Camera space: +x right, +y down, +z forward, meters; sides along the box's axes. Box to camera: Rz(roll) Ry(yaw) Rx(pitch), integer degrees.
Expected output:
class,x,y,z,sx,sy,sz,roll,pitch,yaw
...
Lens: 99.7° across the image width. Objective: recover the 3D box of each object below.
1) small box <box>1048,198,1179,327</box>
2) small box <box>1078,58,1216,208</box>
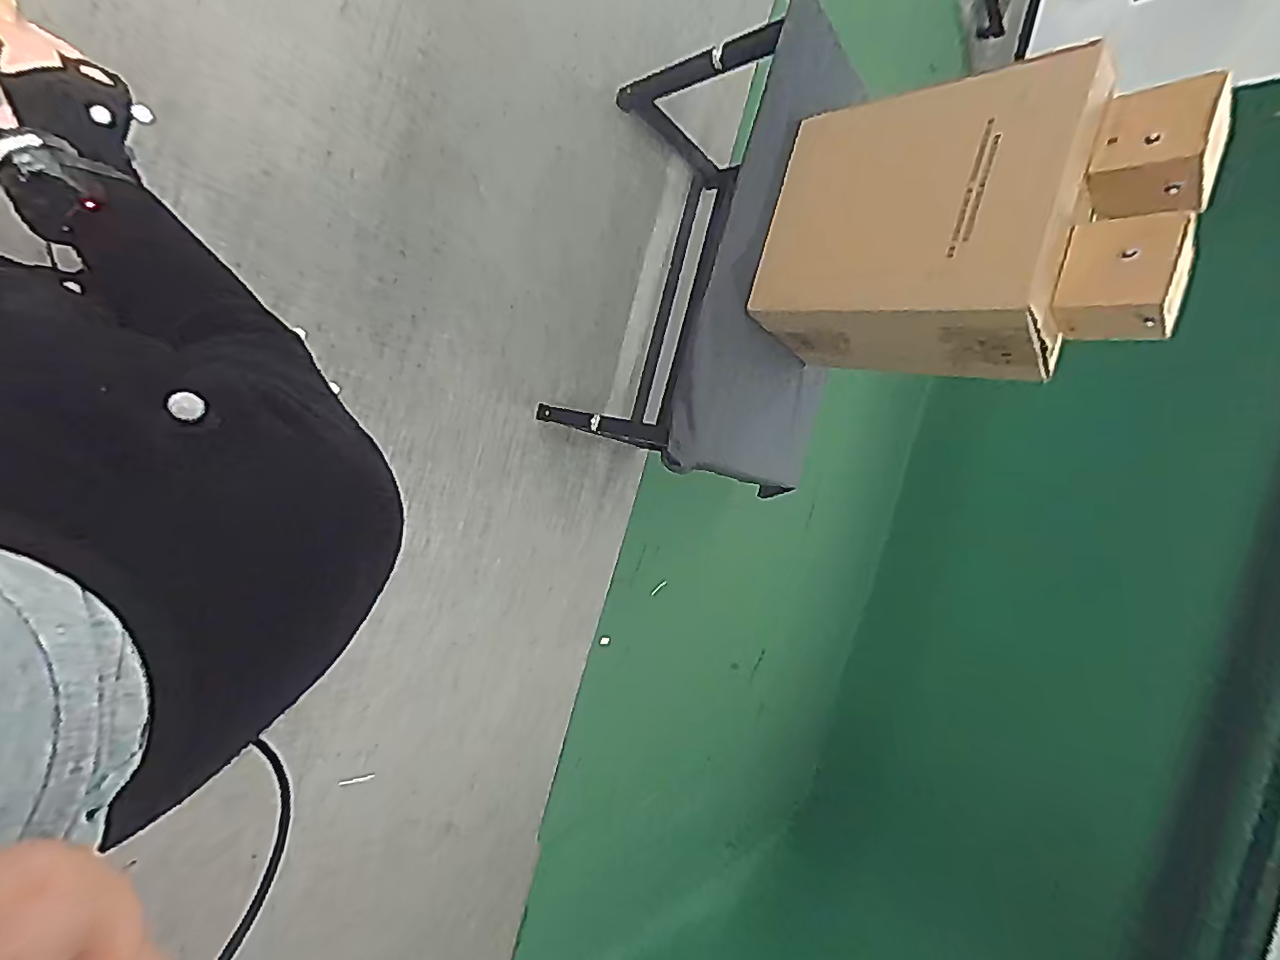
class,x,y,z,sx,sy,sz,roll,pitch,yaw
small box,0.934,-0.418,1.071,0.168,0.176,0.179,15,89,-44
small box,0.997,-0.668,1.071,0.179,0.176,0.168,20,88,-45
